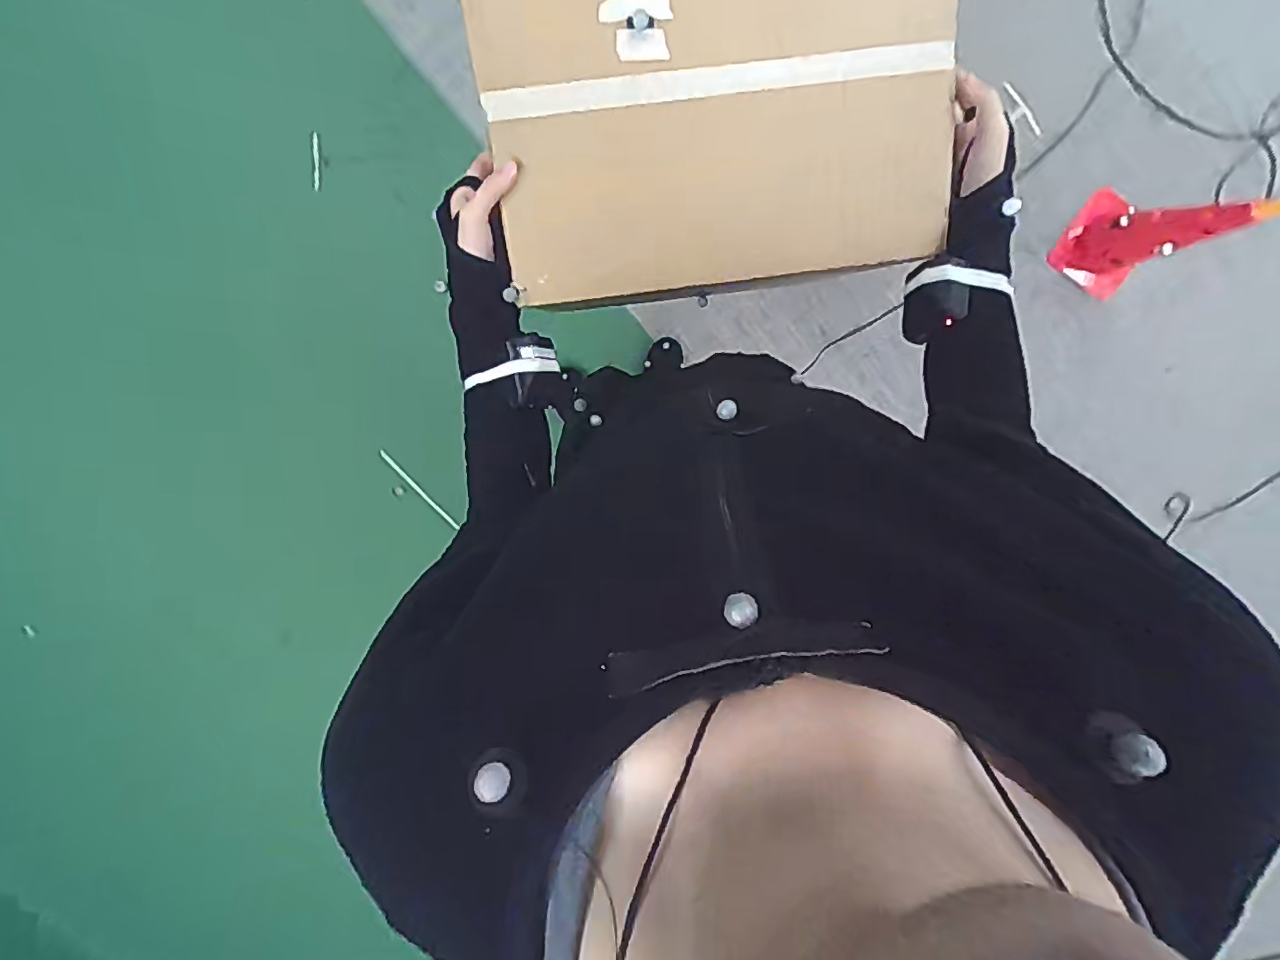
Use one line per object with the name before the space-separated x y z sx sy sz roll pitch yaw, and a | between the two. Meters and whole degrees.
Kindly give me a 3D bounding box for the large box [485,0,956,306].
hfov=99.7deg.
large box | 0.071 -0.381 0.614 0.408 0.320 0.320 -7 105 -2
